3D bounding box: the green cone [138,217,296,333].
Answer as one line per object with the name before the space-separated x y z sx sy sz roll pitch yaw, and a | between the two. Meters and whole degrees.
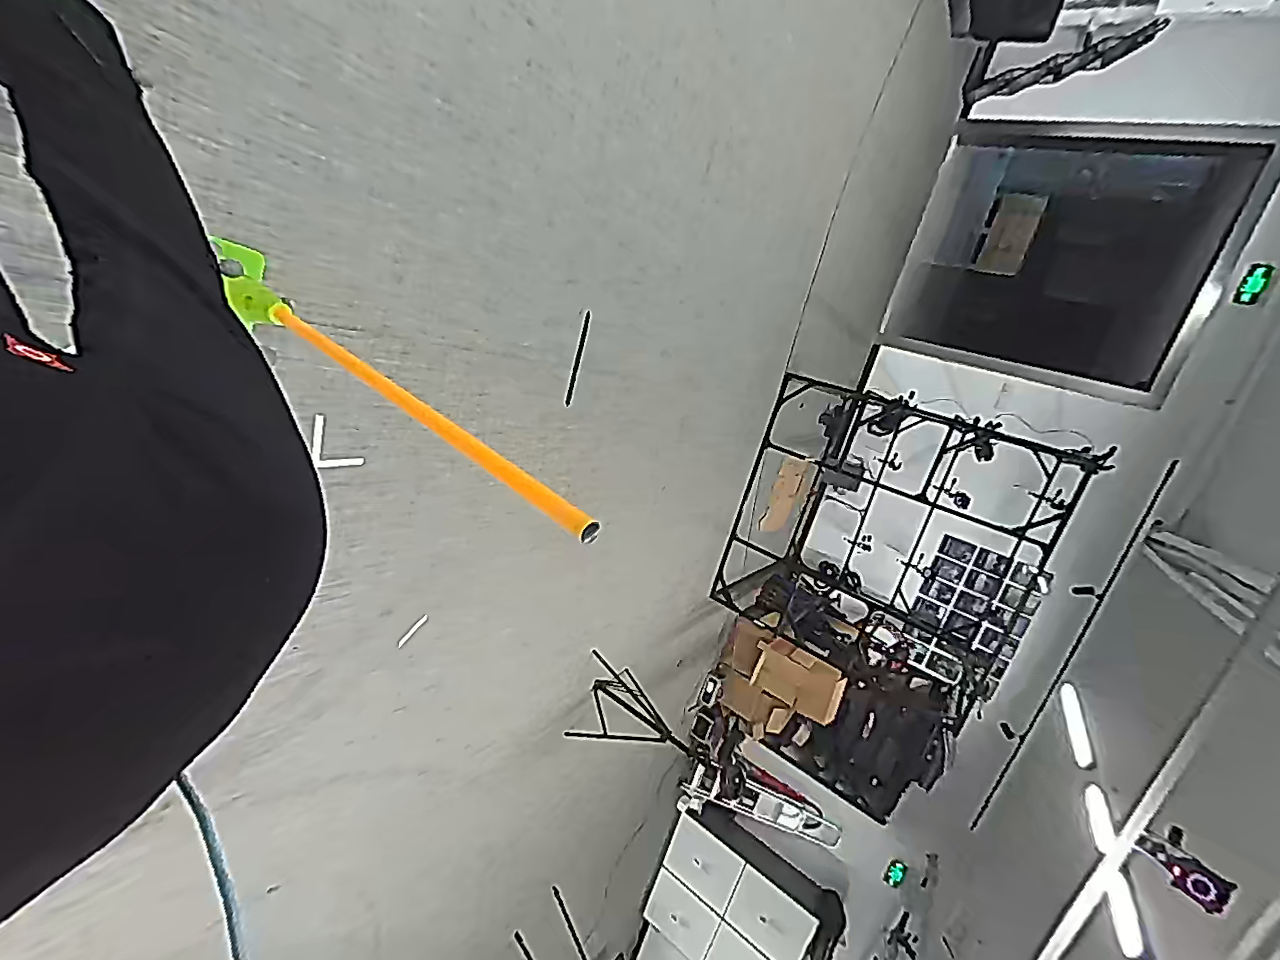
green cone | -0.806 -0.370 1.084 0.202 0.368 0.200 1 111 -60
